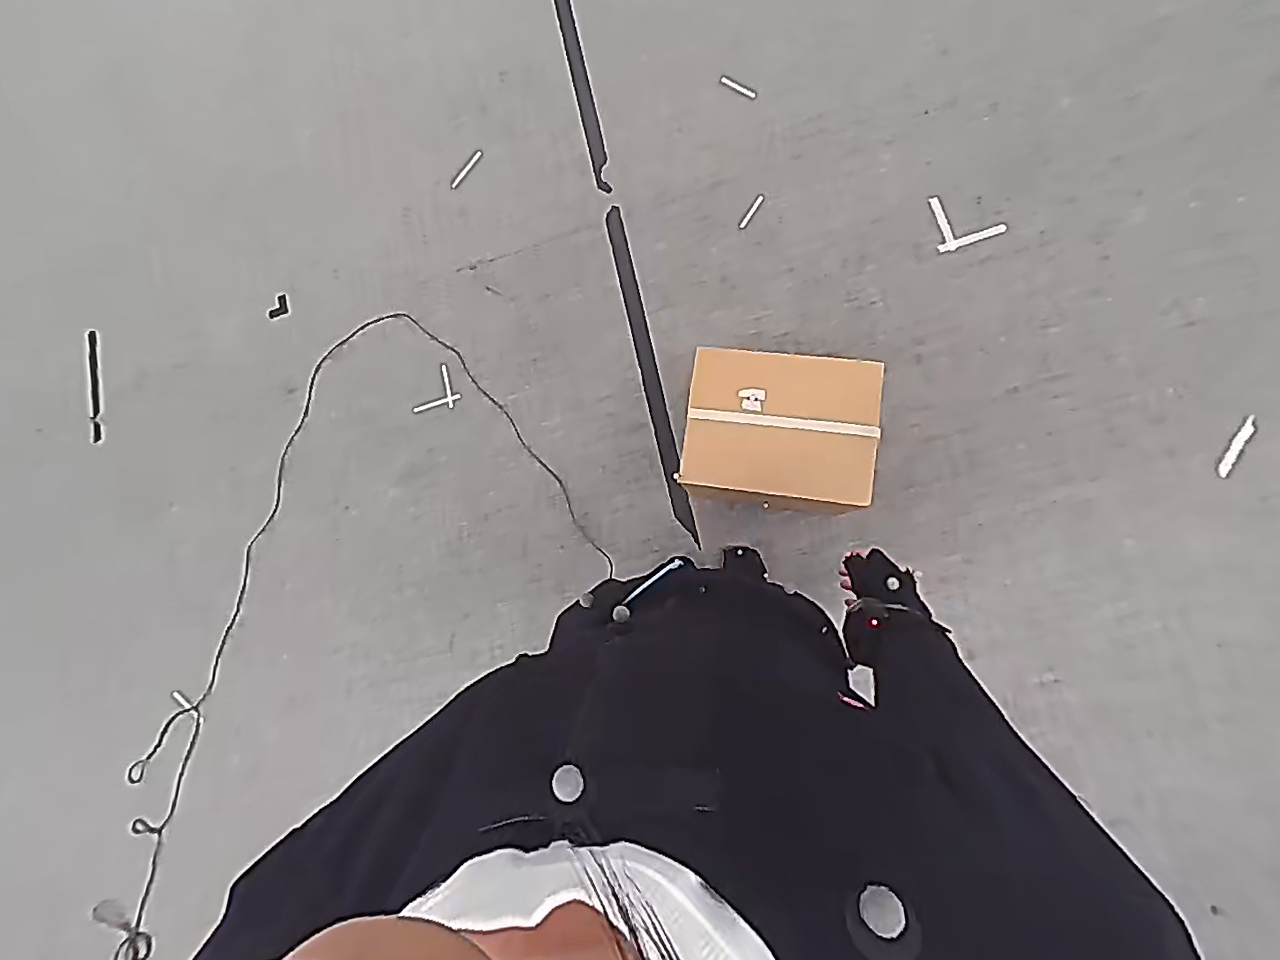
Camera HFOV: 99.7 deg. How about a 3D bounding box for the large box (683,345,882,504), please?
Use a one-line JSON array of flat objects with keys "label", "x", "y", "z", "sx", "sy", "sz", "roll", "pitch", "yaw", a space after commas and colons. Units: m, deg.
[{"label": "large box", "x": 0.336, "y": -0.120, "z": 1.324, "sx": 0.408, "sy": 0.320, "sz": 0.320, "roll": 7, "pitch": 84, "yaw": 11}]
